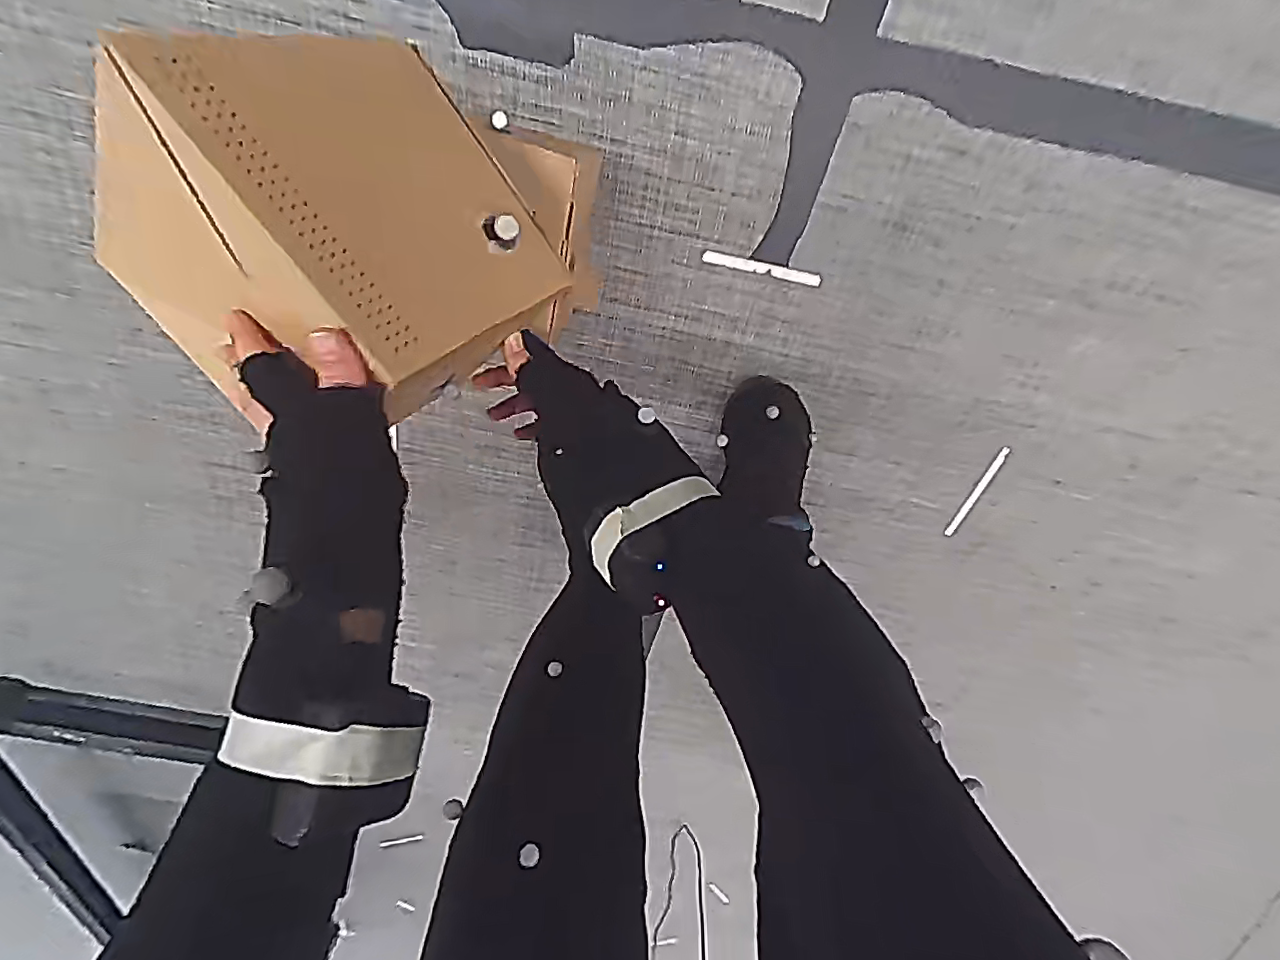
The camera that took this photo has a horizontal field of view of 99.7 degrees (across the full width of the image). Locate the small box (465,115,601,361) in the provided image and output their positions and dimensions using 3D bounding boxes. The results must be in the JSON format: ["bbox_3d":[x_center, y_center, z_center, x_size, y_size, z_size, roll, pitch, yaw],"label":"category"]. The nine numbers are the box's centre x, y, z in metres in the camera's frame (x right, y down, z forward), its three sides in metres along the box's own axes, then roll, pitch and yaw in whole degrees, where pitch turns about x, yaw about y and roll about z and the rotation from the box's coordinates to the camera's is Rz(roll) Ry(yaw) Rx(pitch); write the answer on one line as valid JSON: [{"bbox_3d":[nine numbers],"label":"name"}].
[{"bbox_3d":[-0.142,-0.239,0.519,0.179,0.176,0.168,14,123,-5],"label":"small box"}]

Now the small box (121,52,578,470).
[{"bbox_3d":[-0.181,-0.133,0.356,0.168,0.176,0.179,-24,109,41],"label":"small box"}]
